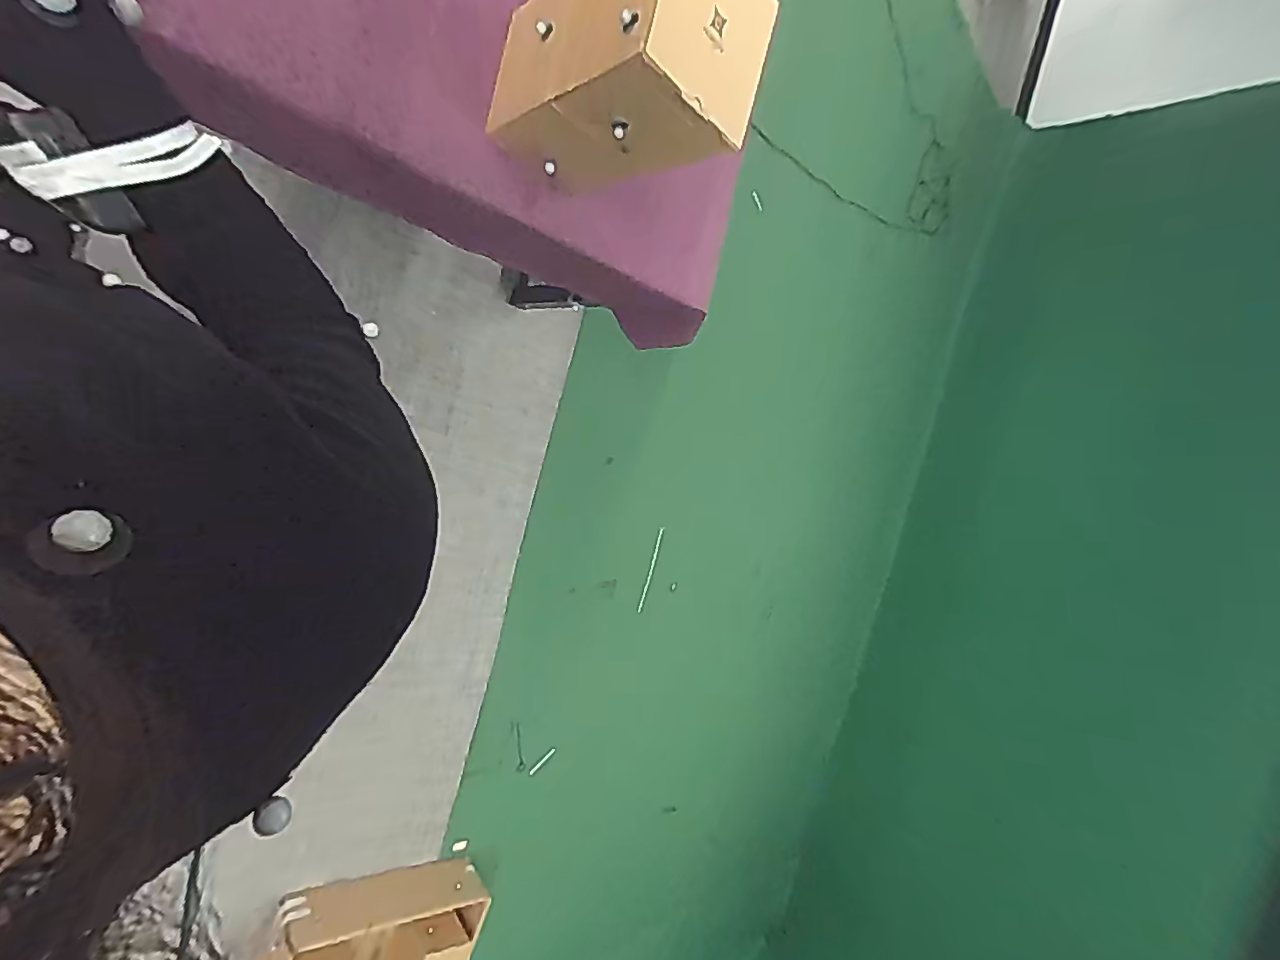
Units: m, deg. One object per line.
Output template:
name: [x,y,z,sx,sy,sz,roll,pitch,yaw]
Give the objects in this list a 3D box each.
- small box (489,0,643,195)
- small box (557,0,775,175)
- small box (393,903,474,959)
small box: [-0.086,-0.528,0.746,0.168,0.176,0.179,12,94,-44]
small box: [0.025,-0.494,0.632,0.168,0.176,0.179,12,95,-45]
small box: [-0.678,1.529,1.765,0.168,0.176,0.179,26,84,-43]
